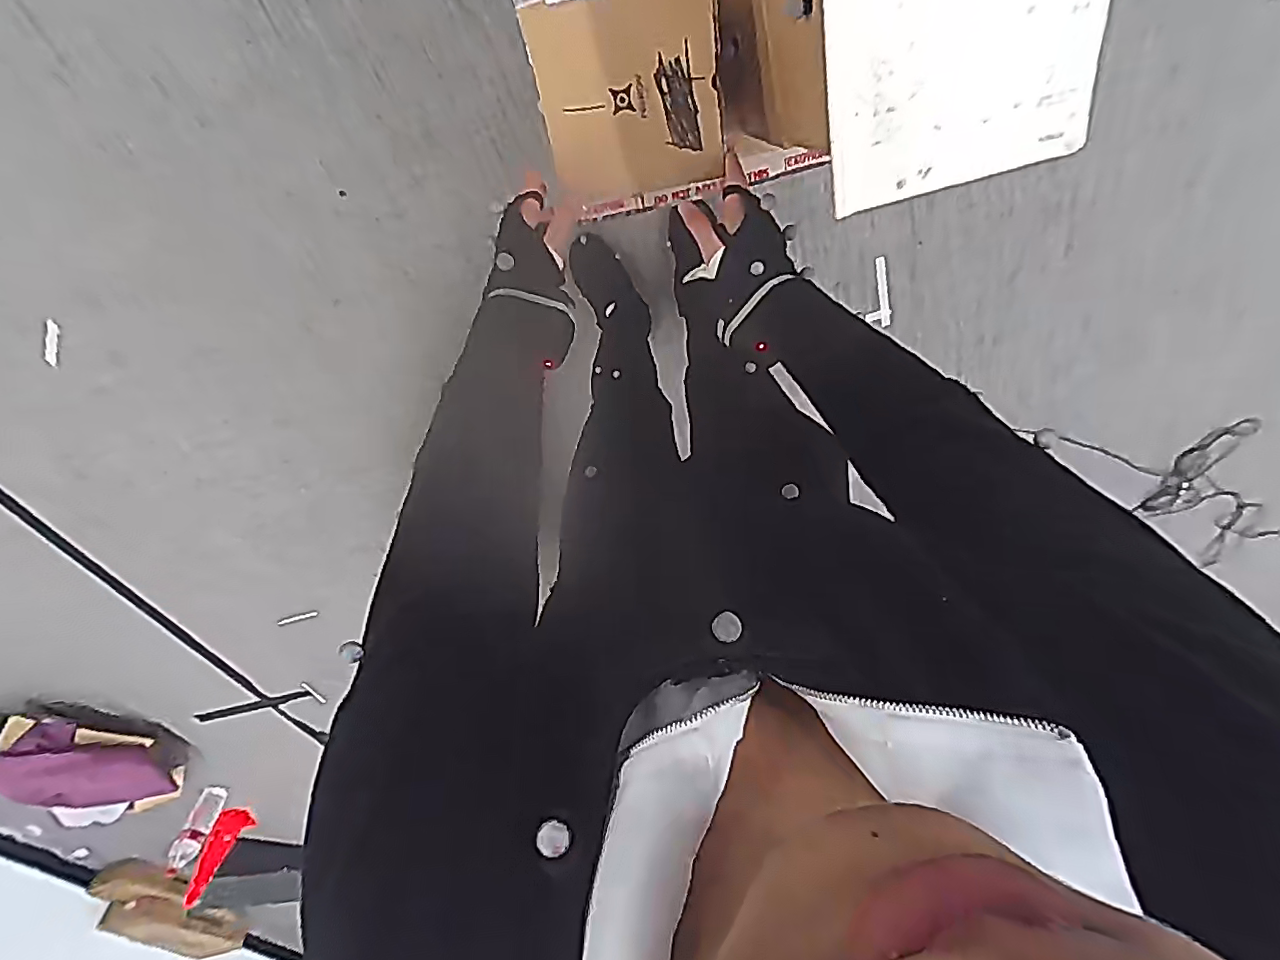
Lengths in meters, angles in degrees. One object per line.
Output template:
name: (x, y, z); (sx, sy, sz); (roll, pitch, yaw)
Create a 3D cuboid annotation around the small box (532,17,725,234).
small box: (-0.009, -0.399, 0.610); (0.179, 0.176, 0.168); (-9, 127, 4)

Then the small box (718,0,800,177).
small box: (0.199, -0.456, 0.584); (0.179, 0.176, 0.168); (-17, 126, 7)

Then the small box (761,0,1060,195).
small box: (0.208, -0.366, 0.450); (0.168, 0.176, 0.179); (-16, 127, 6)
